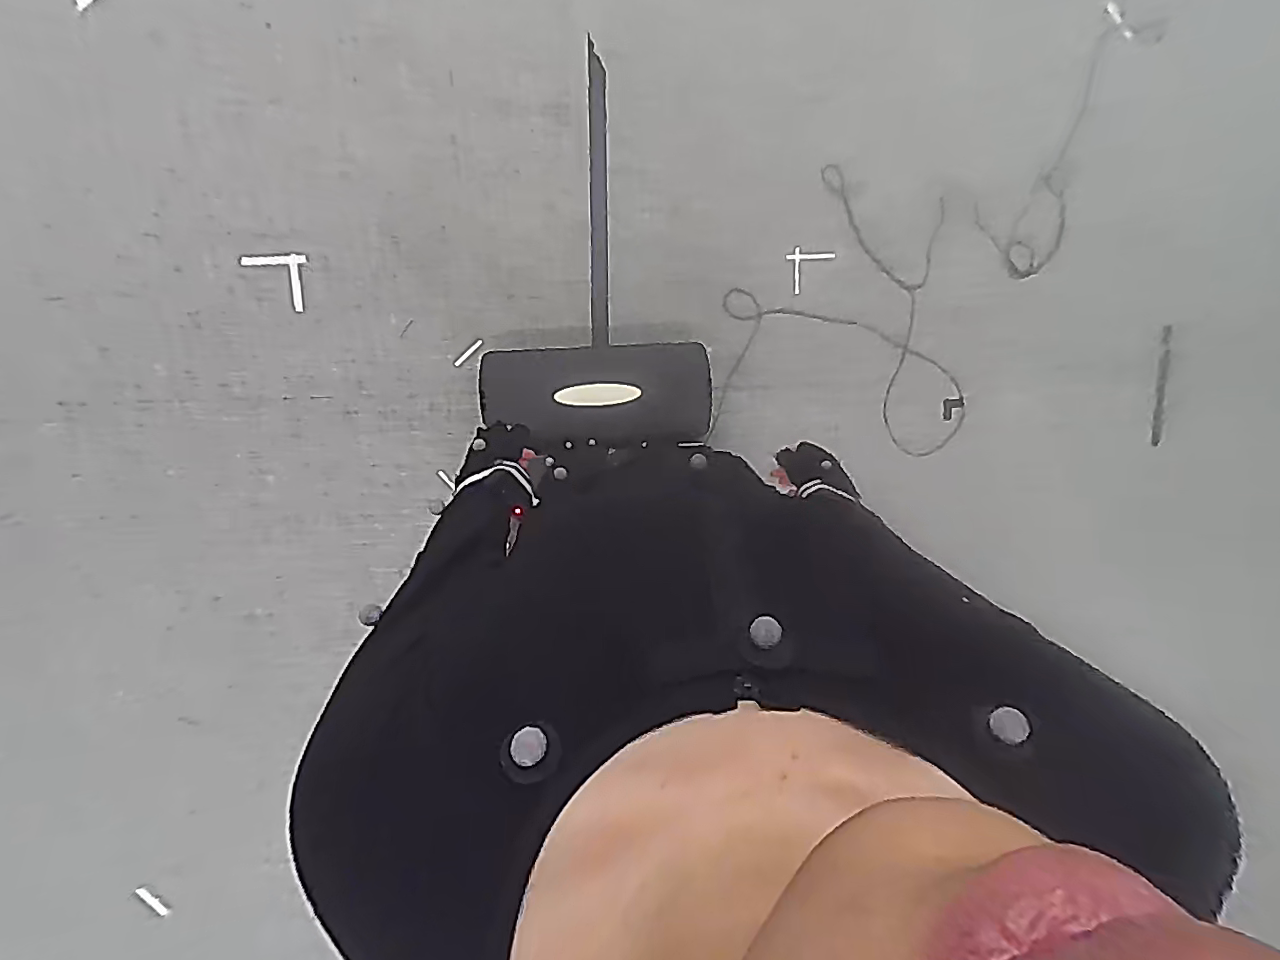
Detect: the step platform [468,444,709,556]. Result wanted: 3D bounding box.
[{"bbox_3d":[-0.142,0.054,1.570,0.684,0.204,0.286,-3,95,-3],"label":"step platform"}]
